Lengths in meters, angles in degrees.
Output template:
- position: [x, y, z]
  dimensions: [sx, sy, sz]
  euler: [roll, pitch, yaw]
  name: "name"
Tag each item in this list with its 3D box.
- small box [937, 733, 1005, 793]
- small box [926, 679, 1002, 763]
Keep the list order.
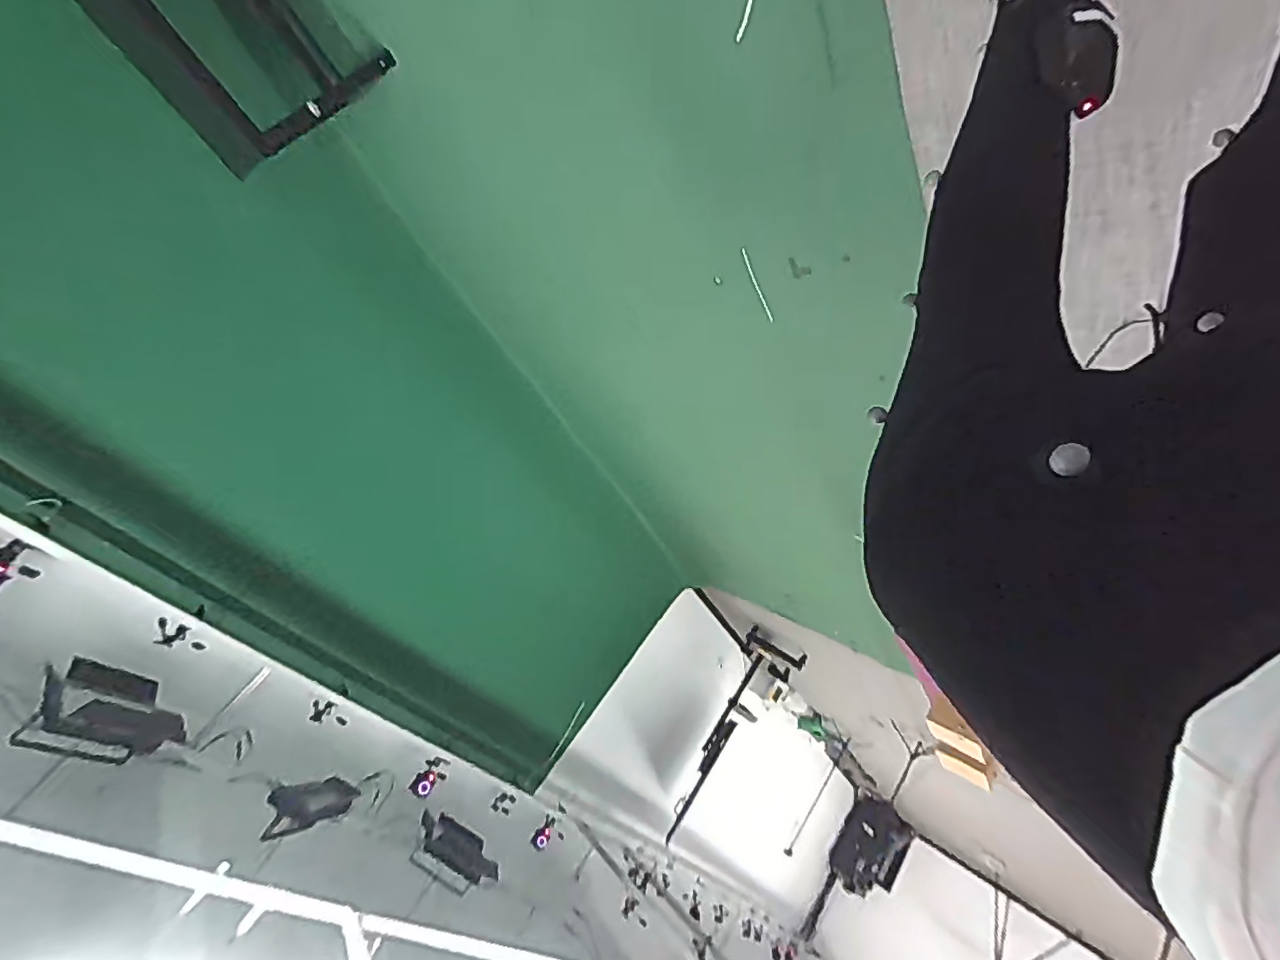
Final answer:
- position: [1.219, 1.000, 1.984]
  dimensions: [0.168, 0.176, 0.179]
  euler: [14, 147, 47]
  name: "small box"
- position: [1.078, 0.794, 1.791]
  dimensions: [0.168, 0.176, 0.179]
  euler: [15, 152, 47]
  name: "small box"
